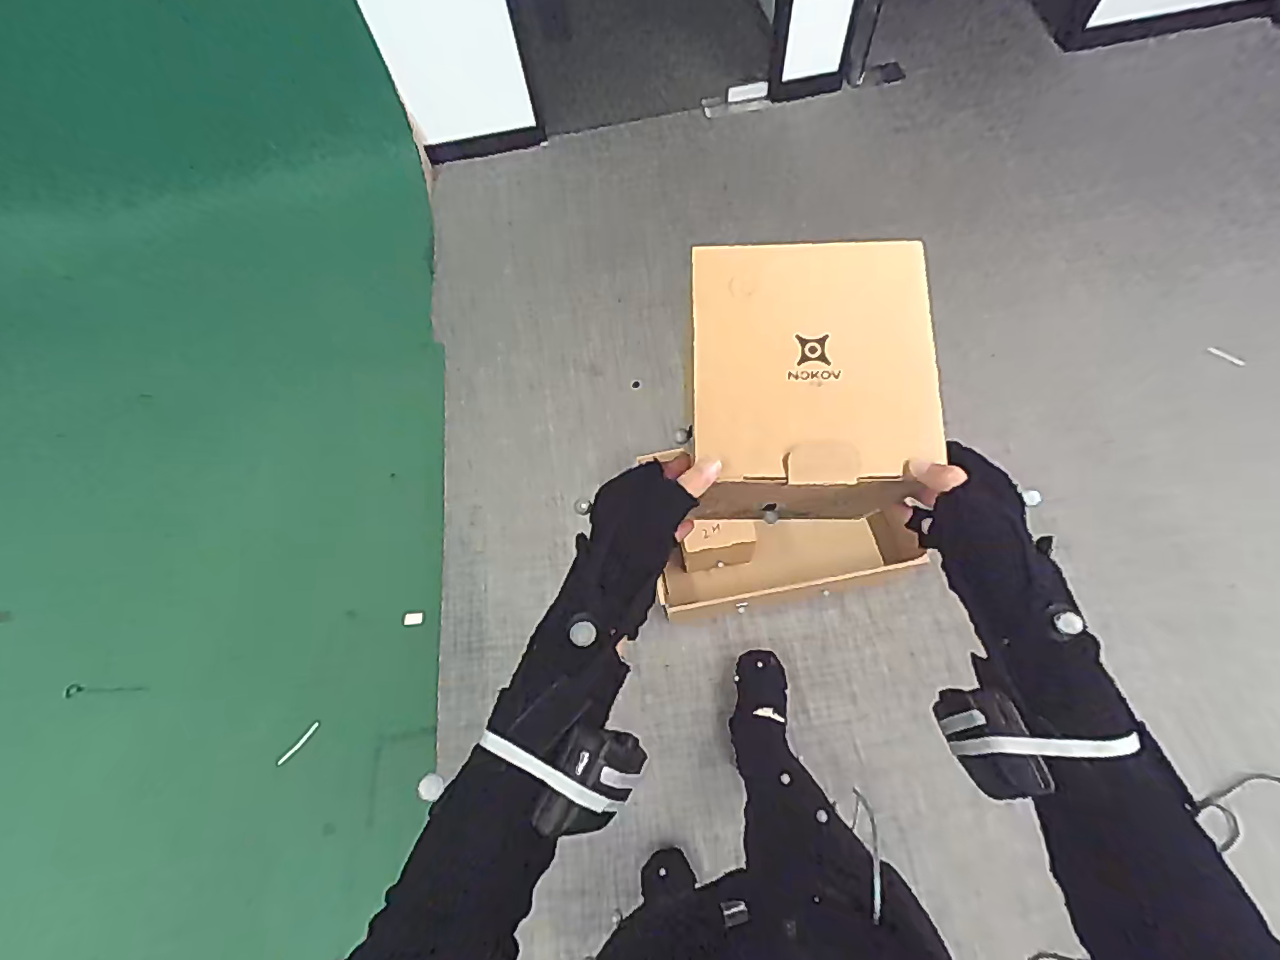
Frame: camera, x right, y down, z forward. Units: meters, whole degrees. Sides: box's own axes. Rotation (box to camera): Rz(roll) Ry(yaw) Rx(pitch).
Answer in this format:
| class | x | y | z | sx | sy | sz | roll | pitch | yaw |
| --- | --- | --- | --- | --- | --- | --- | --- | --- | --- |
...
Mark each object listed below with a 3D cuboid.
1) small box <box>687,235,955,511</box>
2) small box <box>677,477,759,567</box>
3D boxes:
| class | x | y | z | sx | sy | sz | roll | pitch | yaw |
| --- | --- | --- | --- | --- | --- | --- | --- | --- | --- |
| small box | 0.126 | -0.073 | 0.447 | 0.168 | 0.176 | 0.179 | 0 | 80 | 2 |
| small box | 0.182 | 0.097 | 1.318 | 0.168 | 0.176 | 0.179 | -10 | 65 | 1 |
